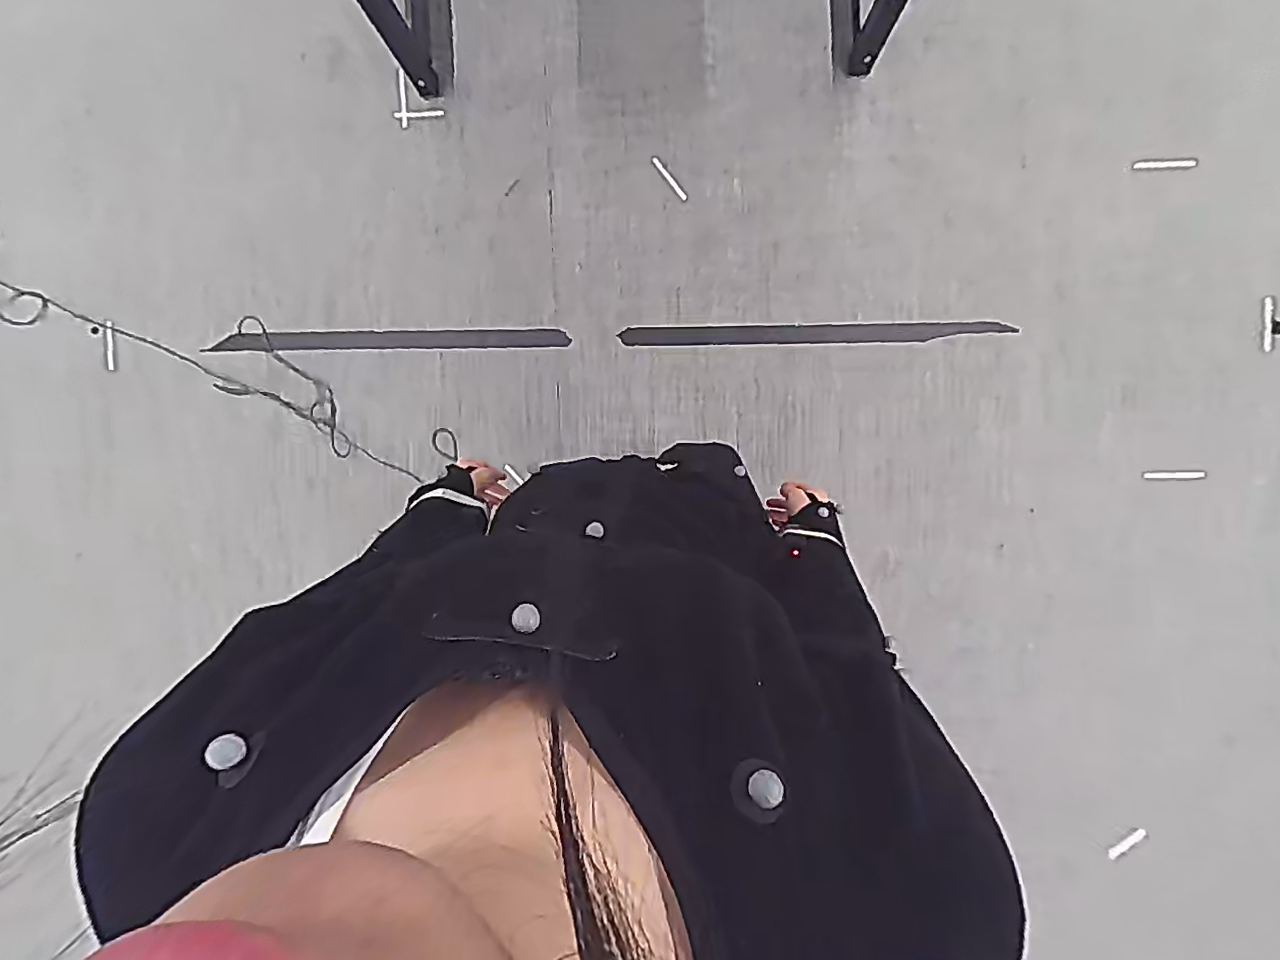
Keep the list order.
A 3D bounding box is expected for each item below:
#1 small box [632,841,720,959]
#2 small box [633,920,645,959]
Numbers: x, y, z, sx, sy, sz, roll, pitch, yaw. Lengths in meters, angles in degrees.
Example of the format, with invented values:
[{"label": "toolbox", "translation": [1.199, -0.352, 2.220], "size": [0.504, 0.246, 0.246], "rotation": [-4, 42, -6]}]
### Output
[{"label": "small box", "translation": [0.082, 0.999, 1.267], "size": [0.168, 0.176, 0.179], "rotation": [-14, 92, 1]}, {"label": "small box", "translation": [0.078, 1.265, 1.446], "size": [0.168, 0.176, 0.179], "rotation": [-10, 92, 1]}]
